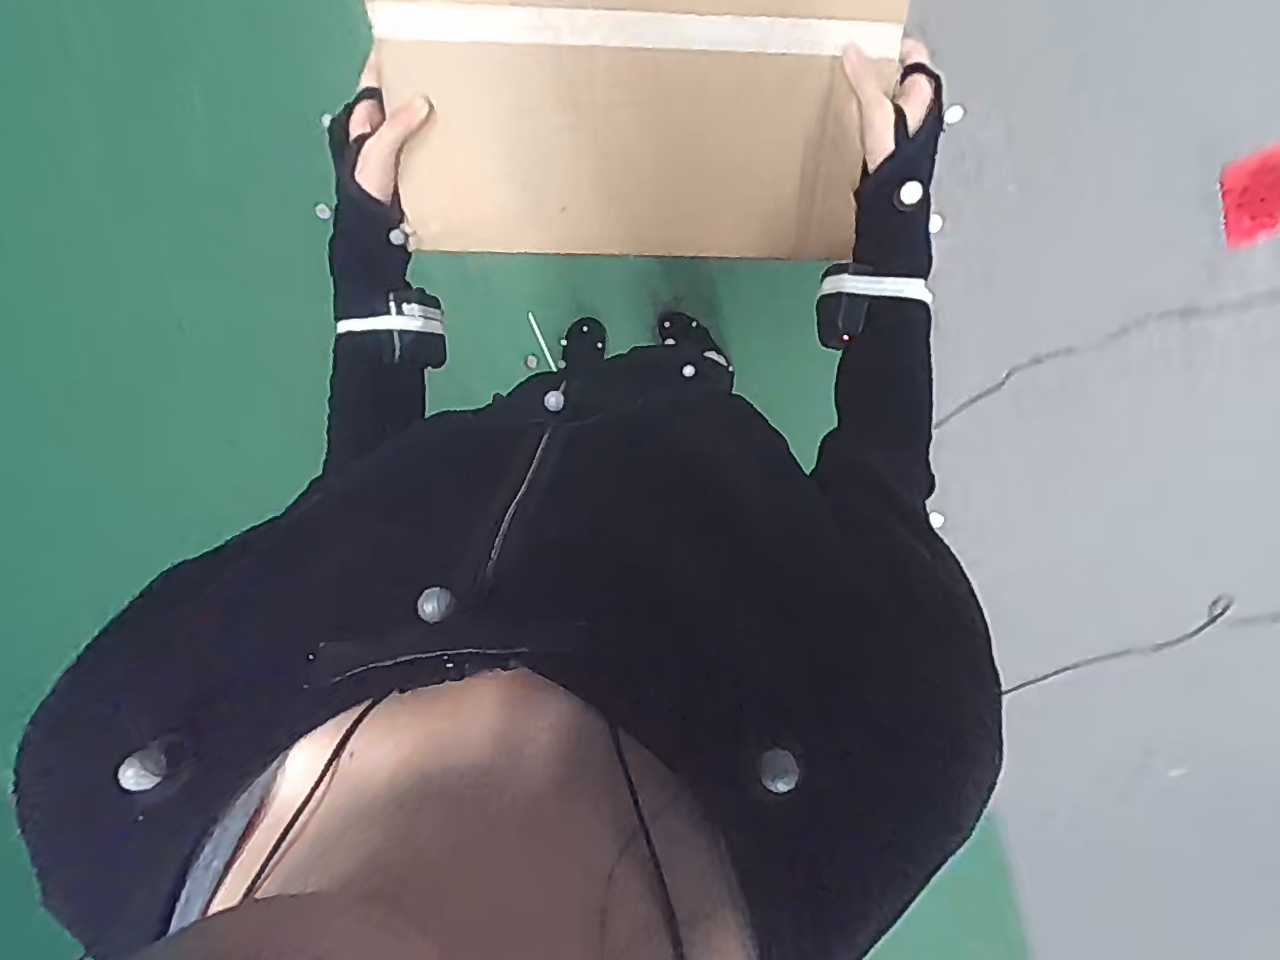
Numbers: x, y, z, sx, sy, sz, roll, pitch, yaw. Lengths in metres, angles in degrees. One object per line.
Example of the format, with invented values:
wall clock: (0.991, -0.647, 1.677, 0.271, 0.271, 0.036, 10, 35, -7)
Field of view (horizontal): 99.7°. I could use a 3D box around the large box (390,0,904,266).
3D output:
large box: (0.003, -0.412, 0.561, 0.408, 0.320, 0.320, 1, 117, -3)
